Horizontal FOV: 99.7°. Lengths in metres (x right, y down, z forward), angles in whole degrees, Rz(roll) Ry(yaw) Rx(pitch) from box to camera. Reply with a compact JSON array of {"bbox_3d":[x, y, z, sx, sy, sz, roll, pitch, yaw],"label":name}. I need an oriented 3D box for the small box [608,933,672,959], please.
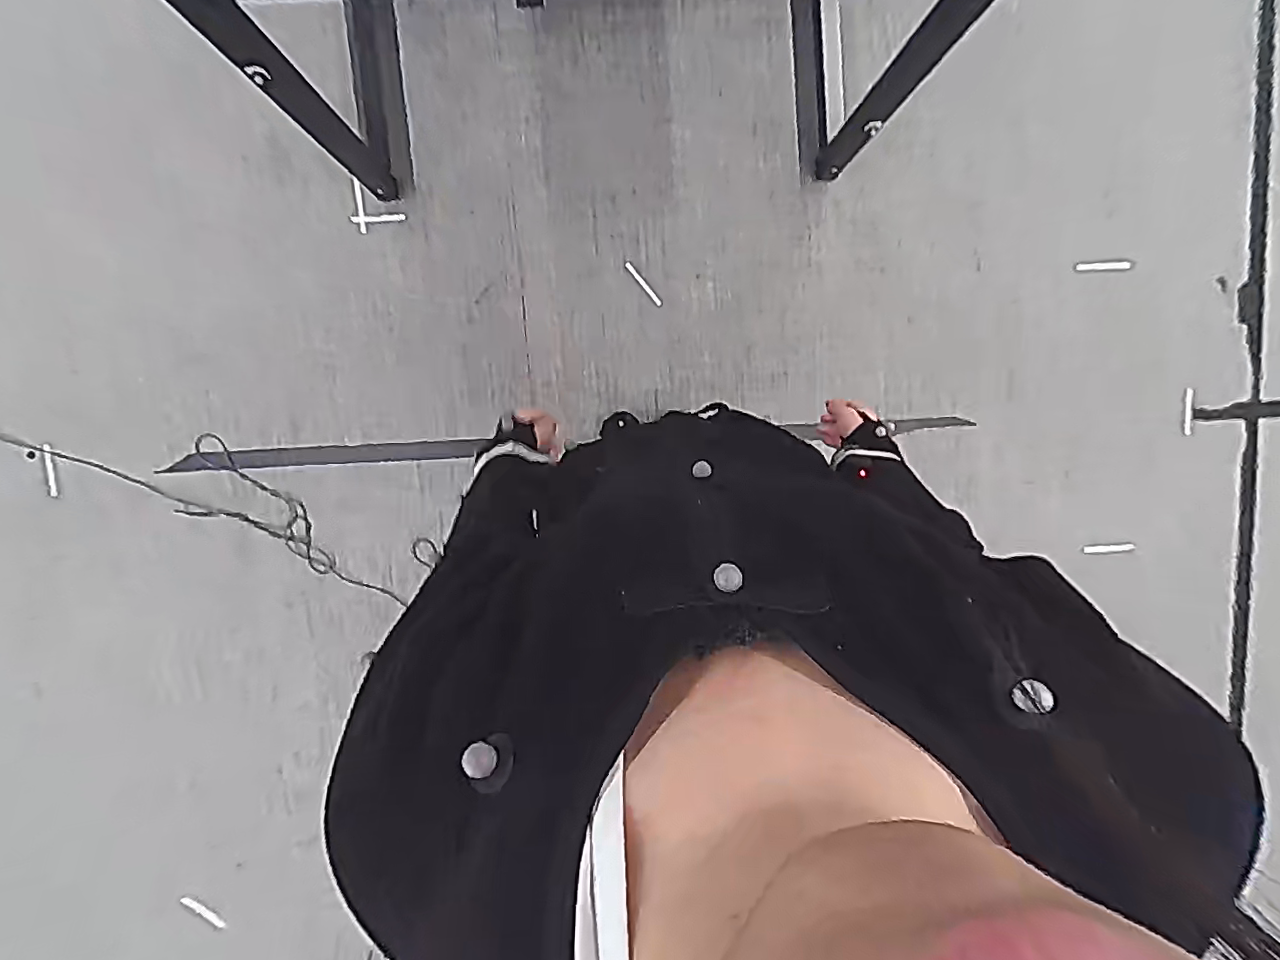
[{"bbox_3d":[0.003,1.304,1.380,0.168,0.176,0.179,-3,97,-2],"label":"small box"}]
